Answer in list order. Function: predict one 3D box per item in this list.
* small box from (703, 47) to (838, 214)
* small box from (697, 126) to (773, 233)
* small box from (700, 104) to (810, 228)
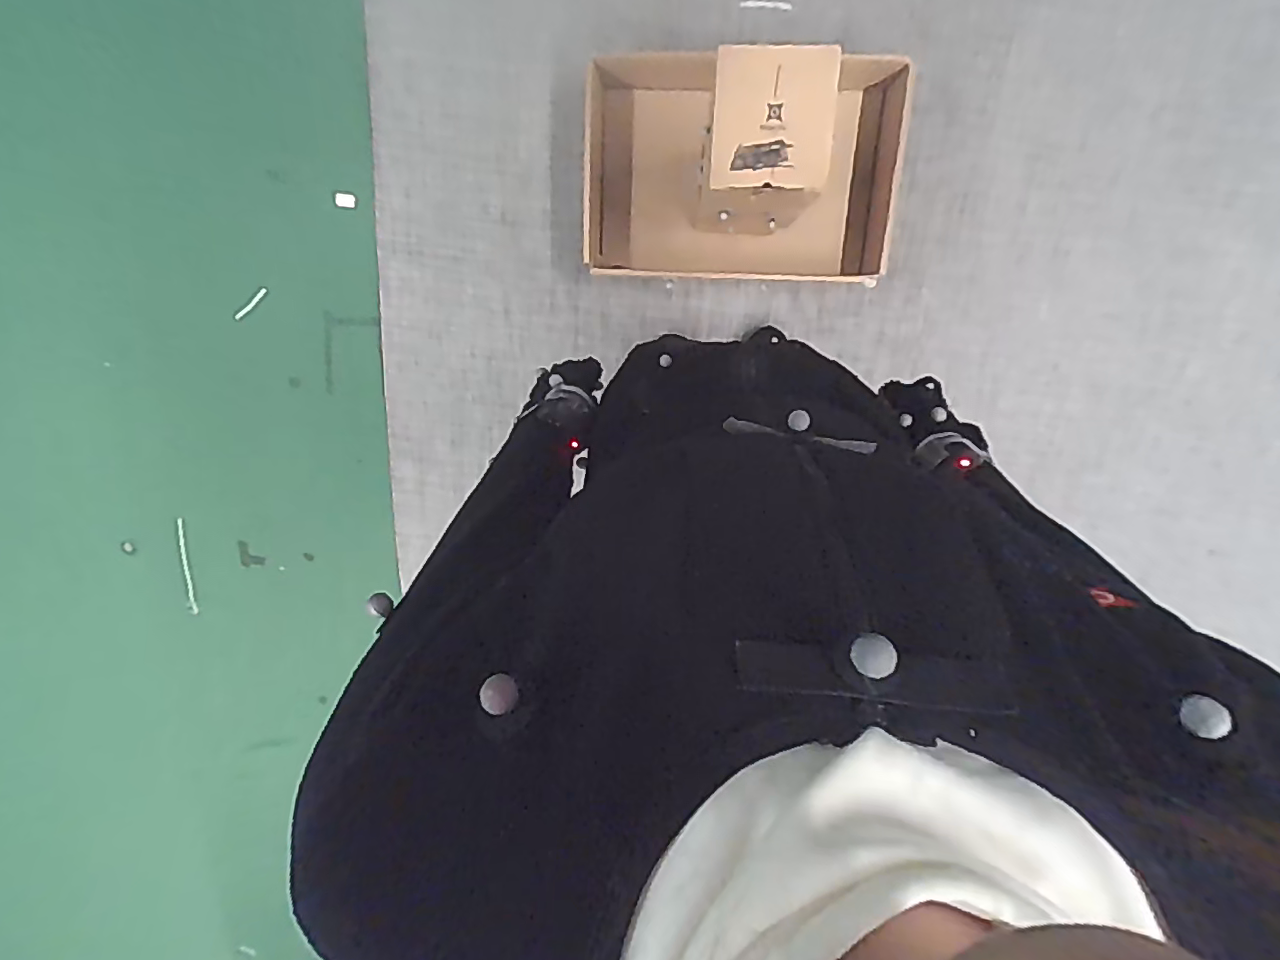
[{"bbox_3d":[0.186,-0.515,0.821,0.168,0.176,0.179,3,105,3],"label":"small box"},{"bbox_3d":[0.210,-0.621,1.133,0.179,0.176,0.168,2,105,4],"label":"small box"},{"bbox_3d":[0.200,-0.554,0.964,0.179,0.176,0.168,0,106,4],"label":"small box"}]
